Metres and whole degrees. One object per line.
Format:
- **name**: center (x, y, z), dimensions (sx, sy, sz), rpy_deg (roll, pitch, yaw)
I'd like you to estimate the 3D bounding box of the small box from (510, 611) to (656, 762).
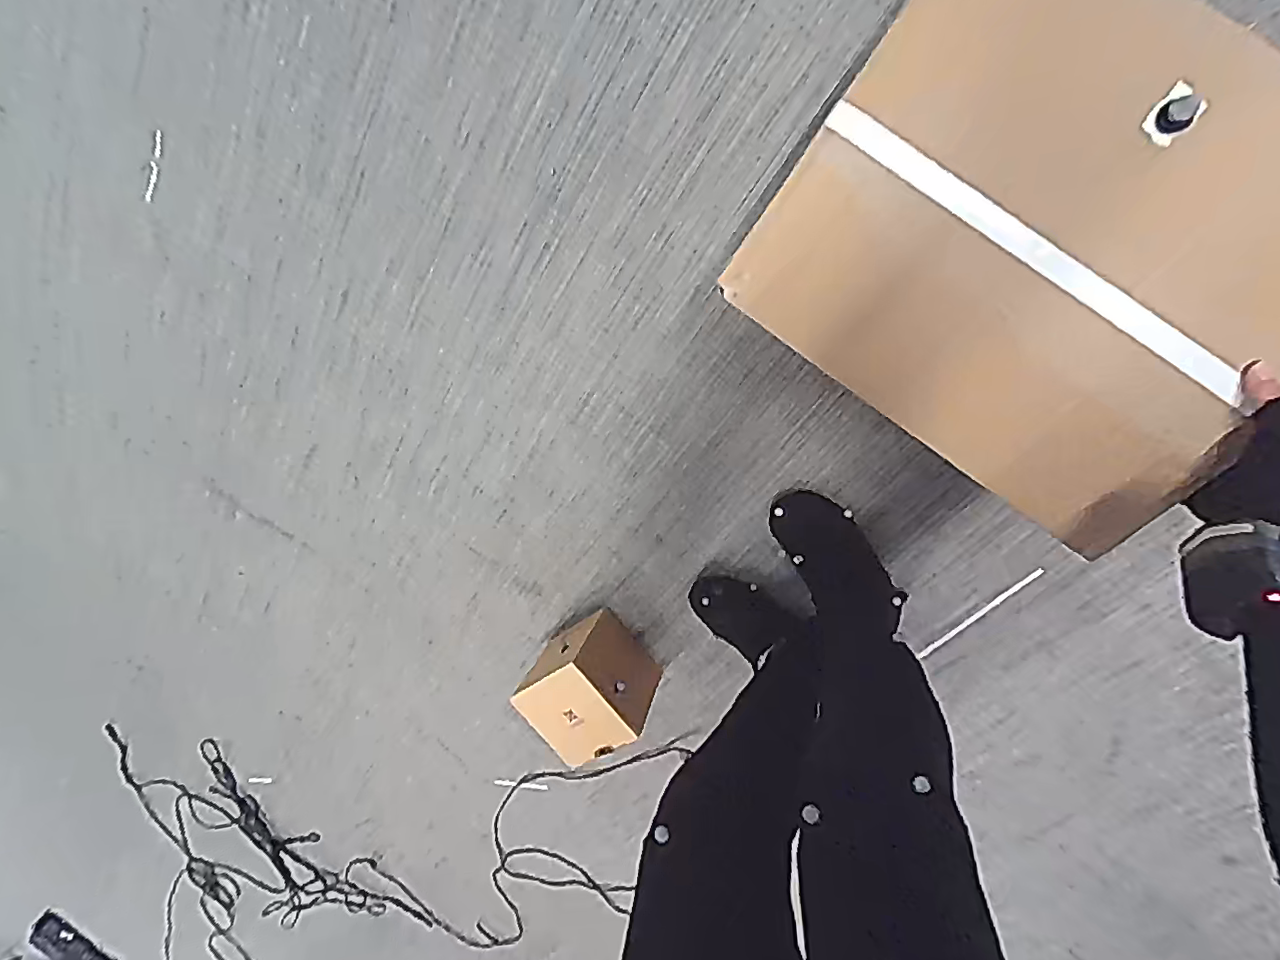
- **small box**: center (-0.096, 0.366, 0.991), dimensions (0.168, 0.176, 0.179), rpy_deg (-37, 98, 25)
